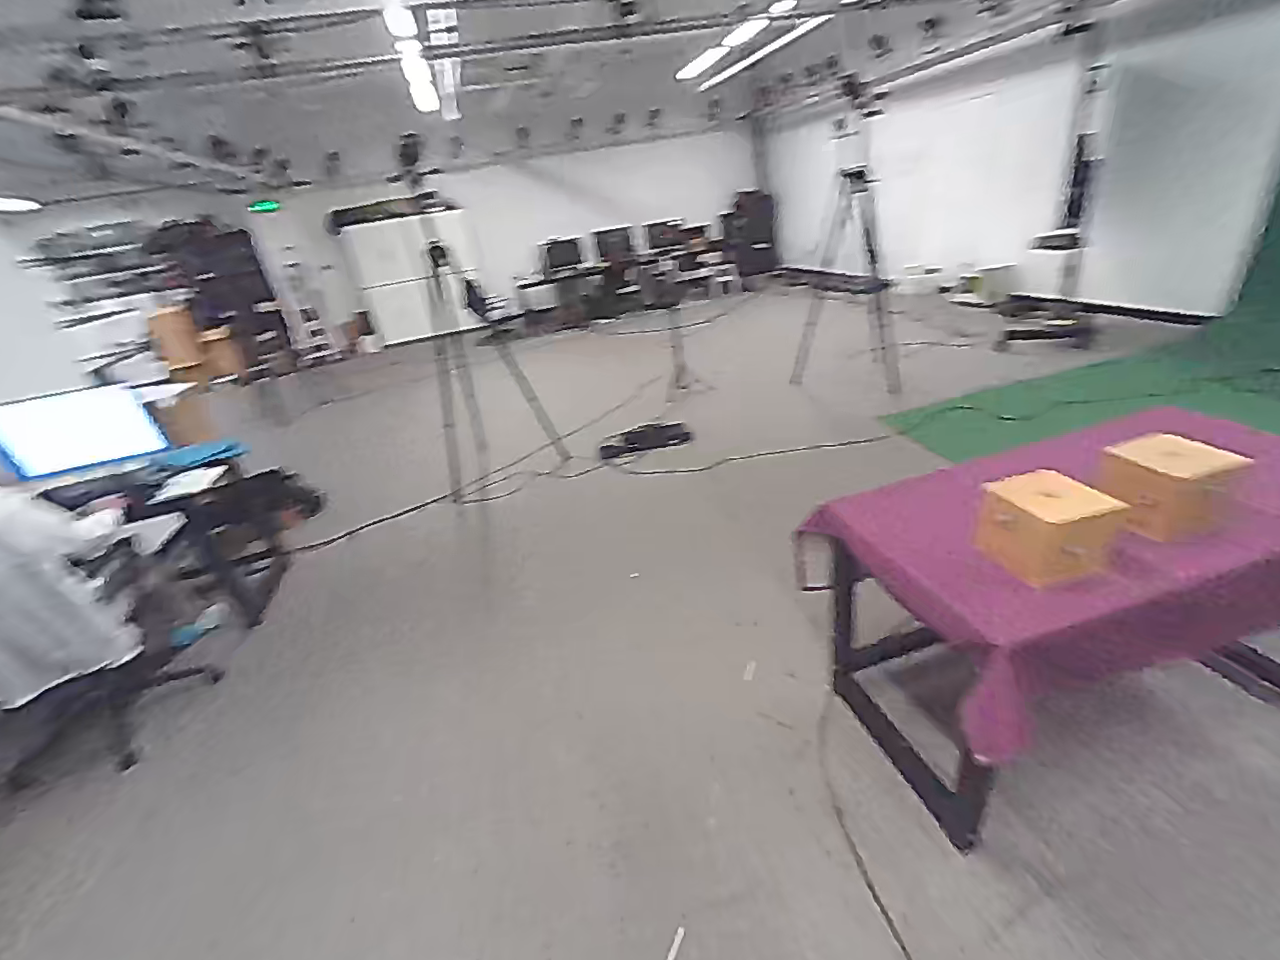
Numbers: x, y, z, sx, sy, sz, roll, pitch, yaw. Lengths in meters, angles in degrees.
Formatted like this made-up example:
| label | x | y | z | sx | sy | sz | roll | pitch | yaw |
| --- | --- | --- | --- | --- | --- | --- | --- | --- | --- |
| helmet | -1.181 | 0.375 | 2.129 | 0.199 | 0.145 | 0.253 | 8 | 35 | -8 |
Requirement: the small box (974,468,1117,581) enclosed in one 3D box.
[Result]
| label | x | y | z | sx | sy | sz | roll | pitch | yaw |
| --- | --- | --- | --- | --- | --- | --- | --- | --- | --- |
| small box | 0.855 | 0.099 | 1.160 | 0.168 | 0.176 | 0.179 | -13 | 26 | -6 |

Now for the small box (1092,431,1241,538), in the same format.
| label | x | y | z | sx | sy | sz | roll | pitch | yaw |
| --- | --- | --- | --- | --- | --- | --- | --- | --- | --- |
| small box | 1.171 | 0.010 | 1.222 | 0.179 | 0.176 | 0.168 | -14 | 27 | -8 |
